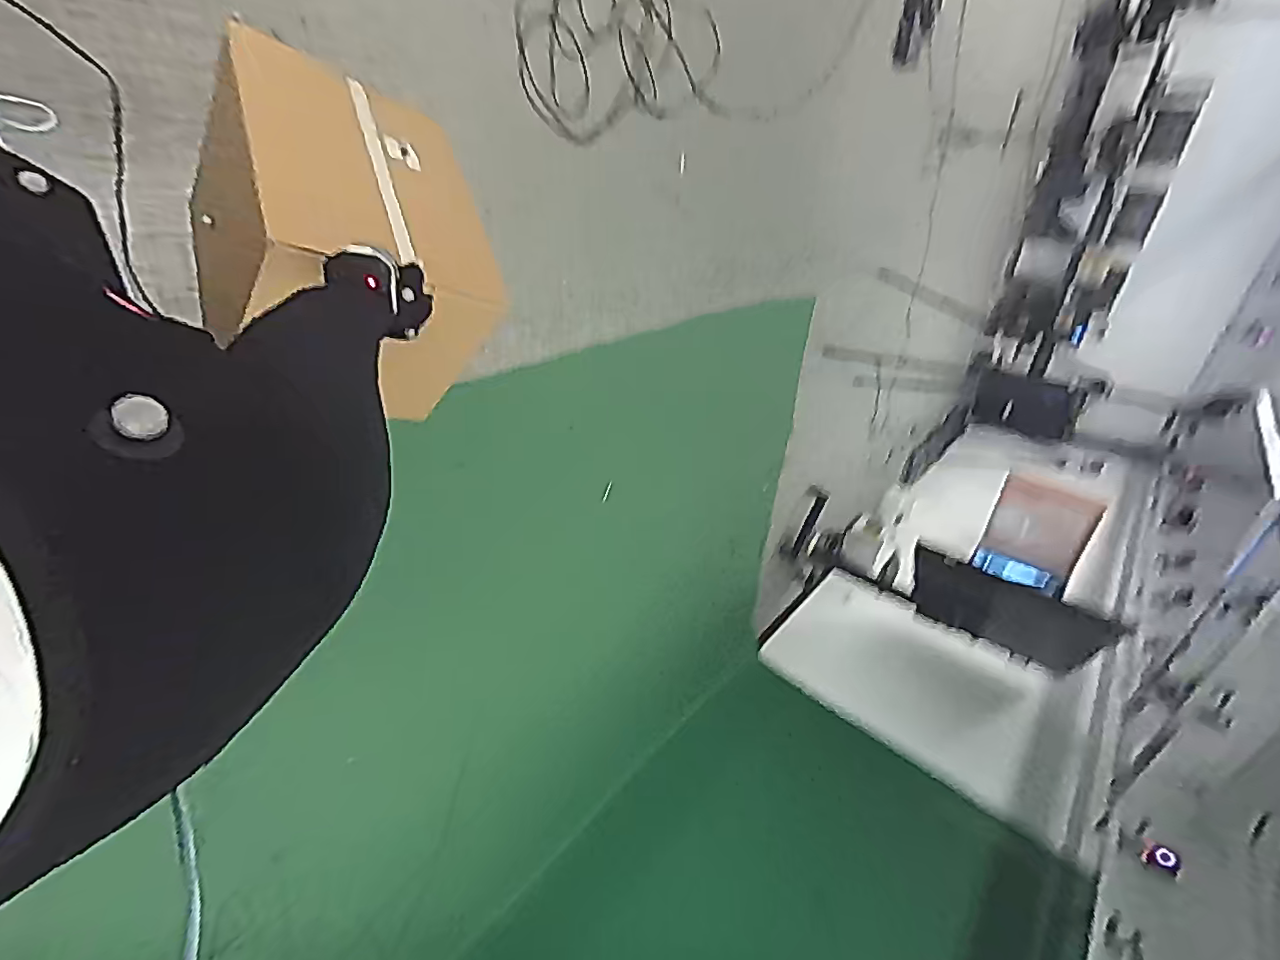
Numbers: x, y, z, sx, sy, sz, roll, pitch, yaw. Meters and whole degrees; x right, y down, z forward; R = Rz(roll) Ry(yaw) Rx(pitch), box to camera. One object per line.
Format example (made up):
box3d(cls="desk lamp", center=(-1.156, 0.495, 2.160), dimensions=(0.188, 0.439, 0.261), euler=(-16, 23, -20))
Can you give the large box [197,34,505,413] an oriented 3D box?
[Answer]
box3d(cls="large box", center=(-0.475, -0.360, 0.865), dimensions=(0.320, 0.408, 0.320), euler=(0, 150, -49))
